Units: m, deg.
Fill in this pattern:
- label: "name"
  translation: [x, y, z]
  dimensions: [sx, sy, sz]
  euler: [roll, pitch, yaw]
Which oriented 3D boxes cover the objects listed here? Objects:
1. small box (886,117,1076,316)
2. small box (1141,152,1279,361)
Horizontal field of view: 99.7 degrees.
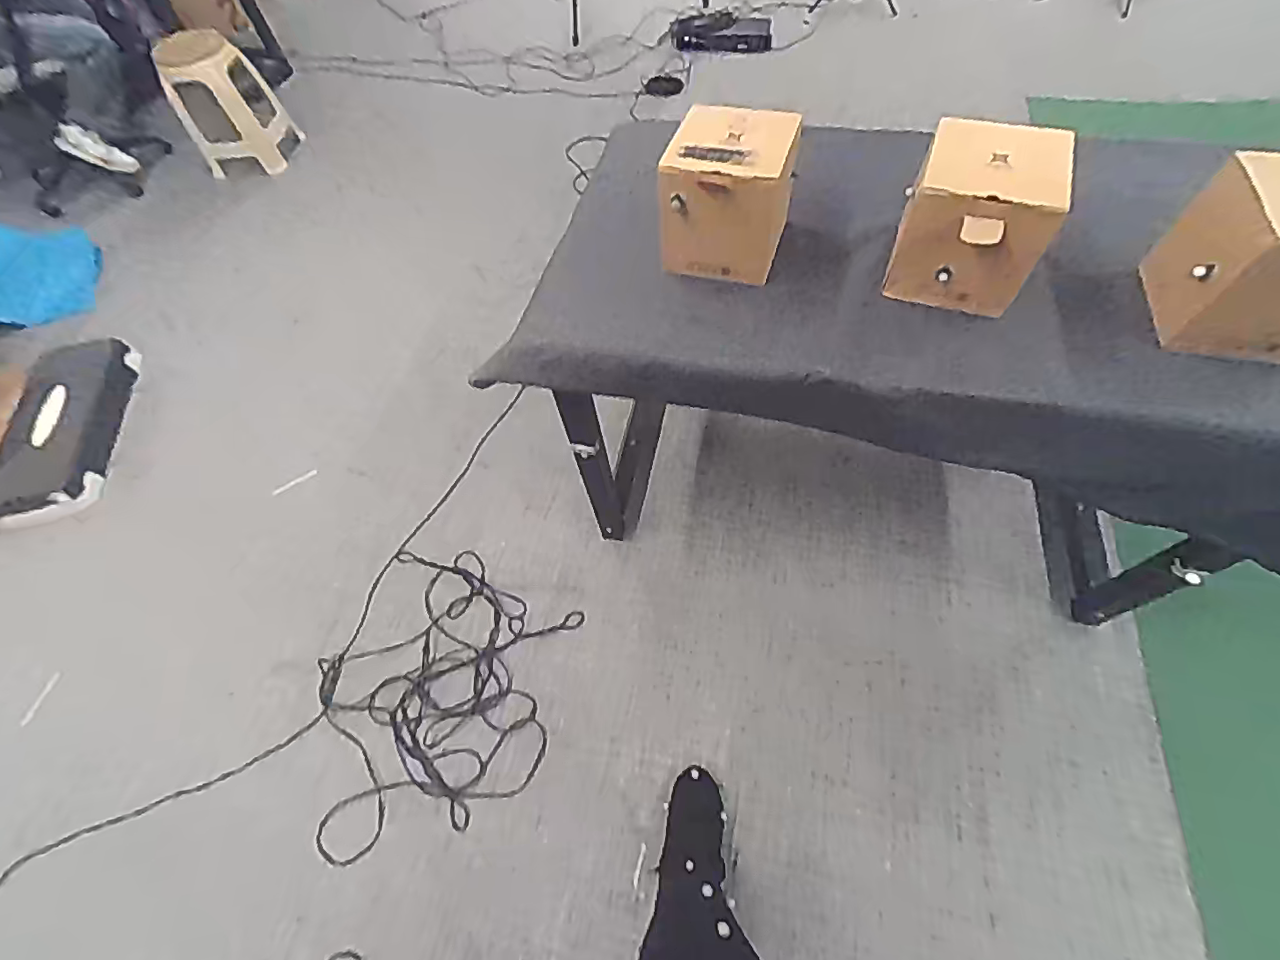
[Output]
- label: "small box"
  translation: [0.459, -0.361, 0.747]
  dimensions: [0.168, 0.176, 0.179]
  euler: [18, 62, 15]
- label: "small box"
  translation: [0.775, -0.267, 0.660]
  dimensions: [0.168, 0.176, 0.179]
  euler: [11, 59, 10]
